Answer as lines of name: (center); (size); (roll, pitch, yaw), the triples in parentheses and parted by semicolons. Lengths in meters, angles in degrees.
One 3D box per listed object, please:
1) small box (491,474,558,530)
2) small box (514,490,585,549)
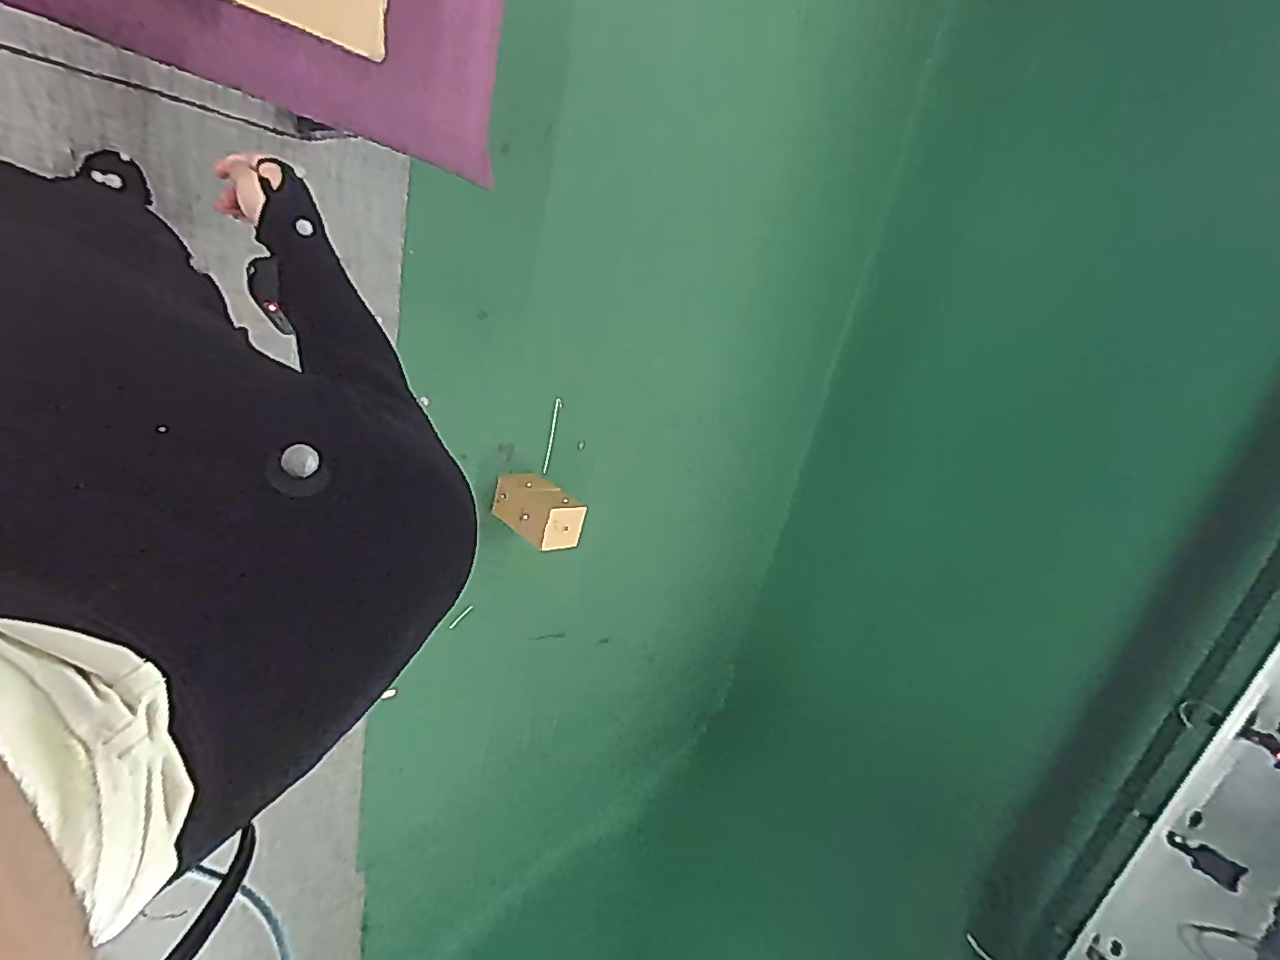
small box: (-0.453, 0.079, 2.113); (0.179, 0.176, 0.168); (-3, 114, -49)
small box: (-0.339, 0.142, 2.012); (0.179, 0.176, 0.168); (0, 111, -49)
